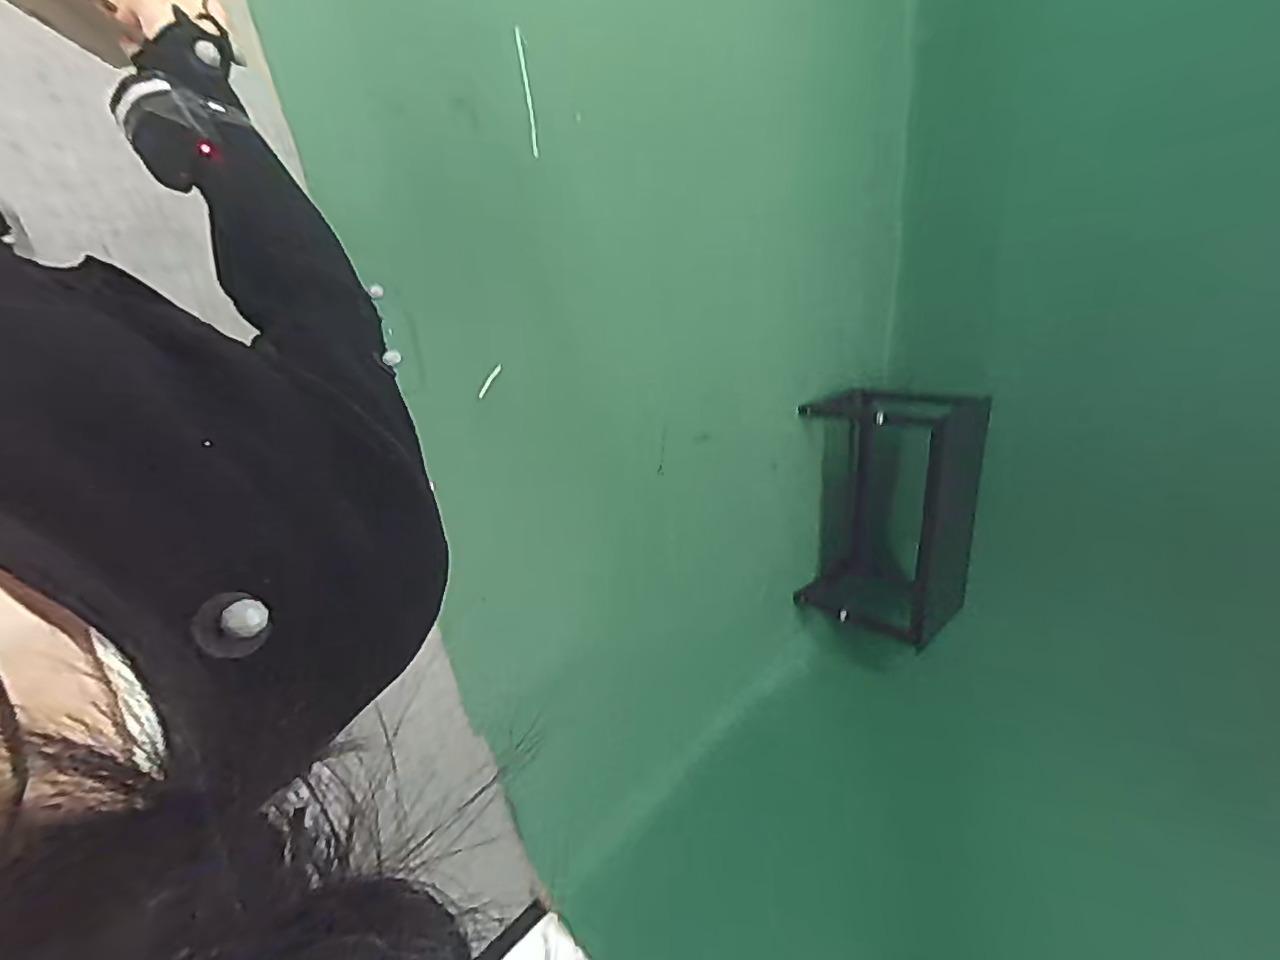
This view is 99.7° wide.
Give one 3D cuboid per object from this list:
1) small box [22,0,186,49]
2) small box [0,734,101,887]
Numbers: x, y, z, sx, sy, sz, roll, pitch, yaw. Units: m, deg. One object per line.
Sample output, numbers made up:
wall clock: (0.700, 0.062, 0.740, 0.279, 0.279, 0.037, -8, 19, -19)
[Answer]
small box: (-0.486, -0.497, 0.439, 0.168, 0.176, 0.179, 15, 94, -62)
small box: (-0.883, 0.494, 0.740, 0.168, 0.176, 0.179, -27, 118, -37)
